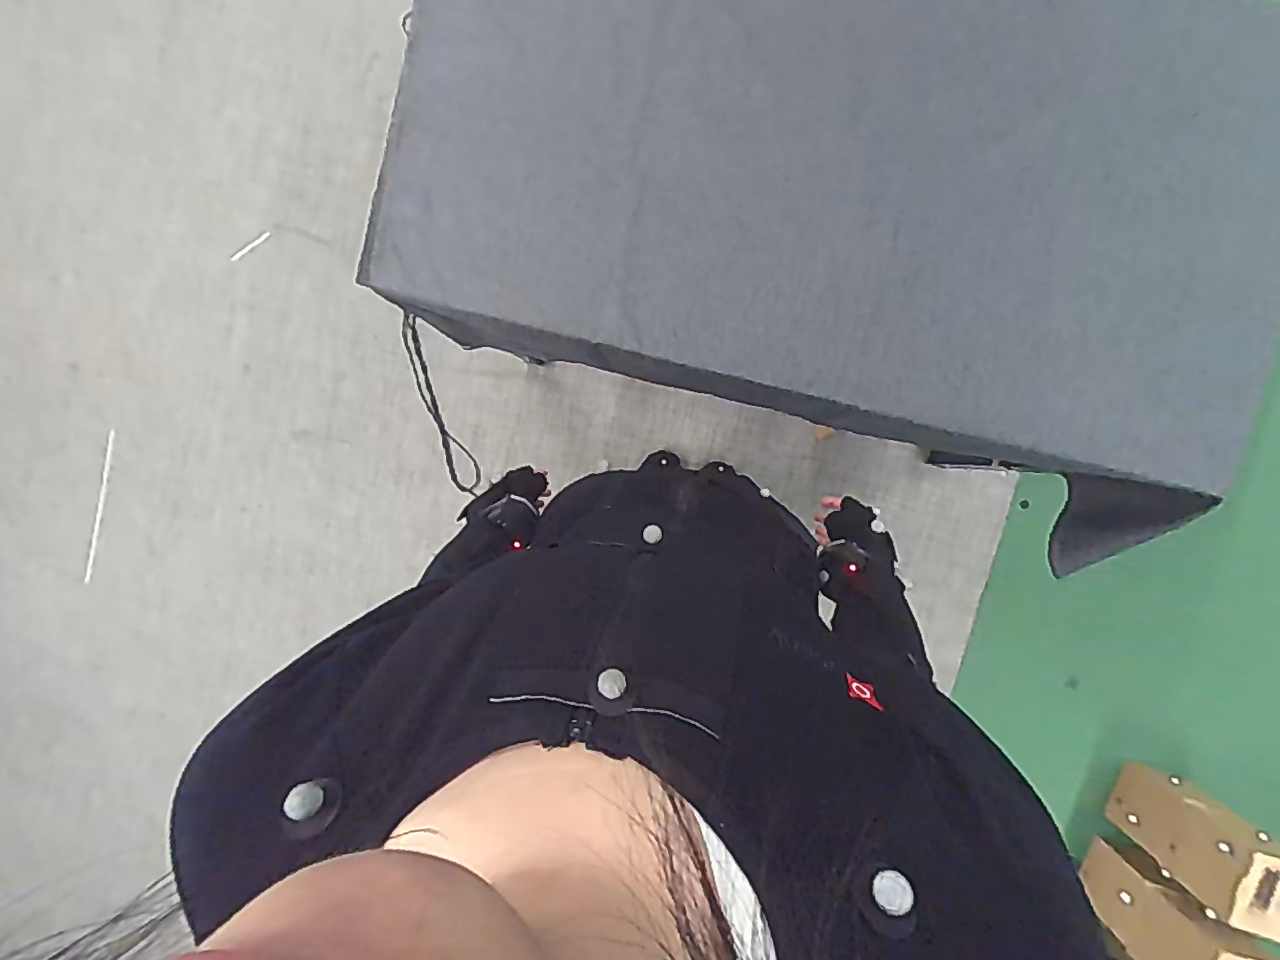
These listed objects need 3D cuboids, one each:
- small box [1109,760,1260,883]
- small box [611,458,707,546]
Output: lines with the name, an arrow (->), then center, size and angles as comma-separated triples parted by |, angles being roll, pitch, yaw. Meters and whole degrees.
small box -> 1.325, 0.828, 1.333 | 0.179, 0.176, 0.168 | 20, 95, 4
small box -> 0.046, 0.057, 1.431 | 0.168, 0.176, 0.179 | -41, 72, 17
